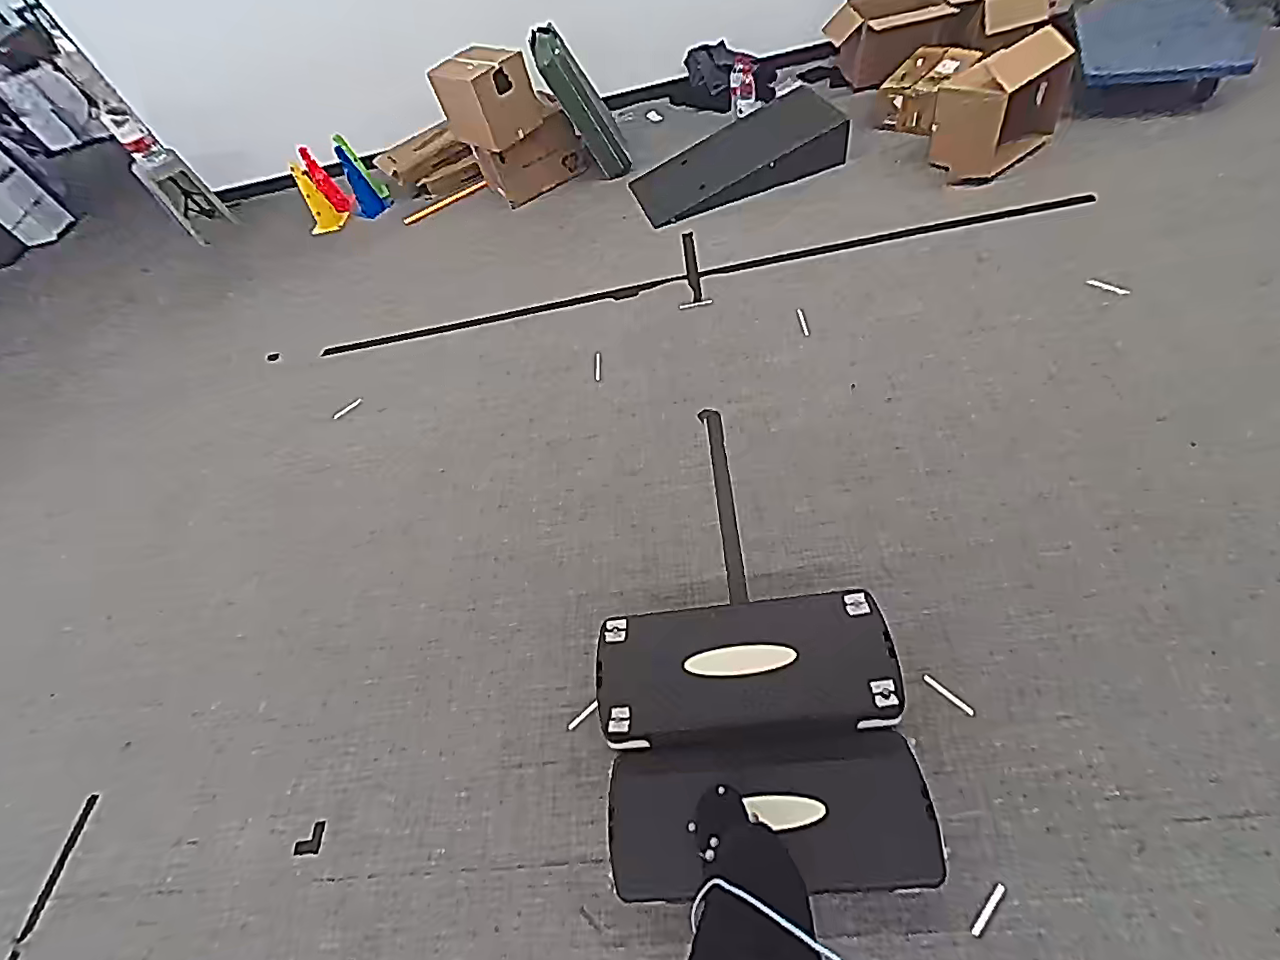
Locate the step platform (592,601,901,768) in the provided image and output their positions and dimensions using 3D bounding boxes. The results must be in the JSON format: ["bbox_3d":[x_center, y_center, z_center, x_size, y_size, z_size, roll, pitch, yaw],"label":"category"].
[{"bbox_3d":[0.229,0.479,1.268,0.684,0.204,0.286,-9,55,6],"label":"step platform"}]
